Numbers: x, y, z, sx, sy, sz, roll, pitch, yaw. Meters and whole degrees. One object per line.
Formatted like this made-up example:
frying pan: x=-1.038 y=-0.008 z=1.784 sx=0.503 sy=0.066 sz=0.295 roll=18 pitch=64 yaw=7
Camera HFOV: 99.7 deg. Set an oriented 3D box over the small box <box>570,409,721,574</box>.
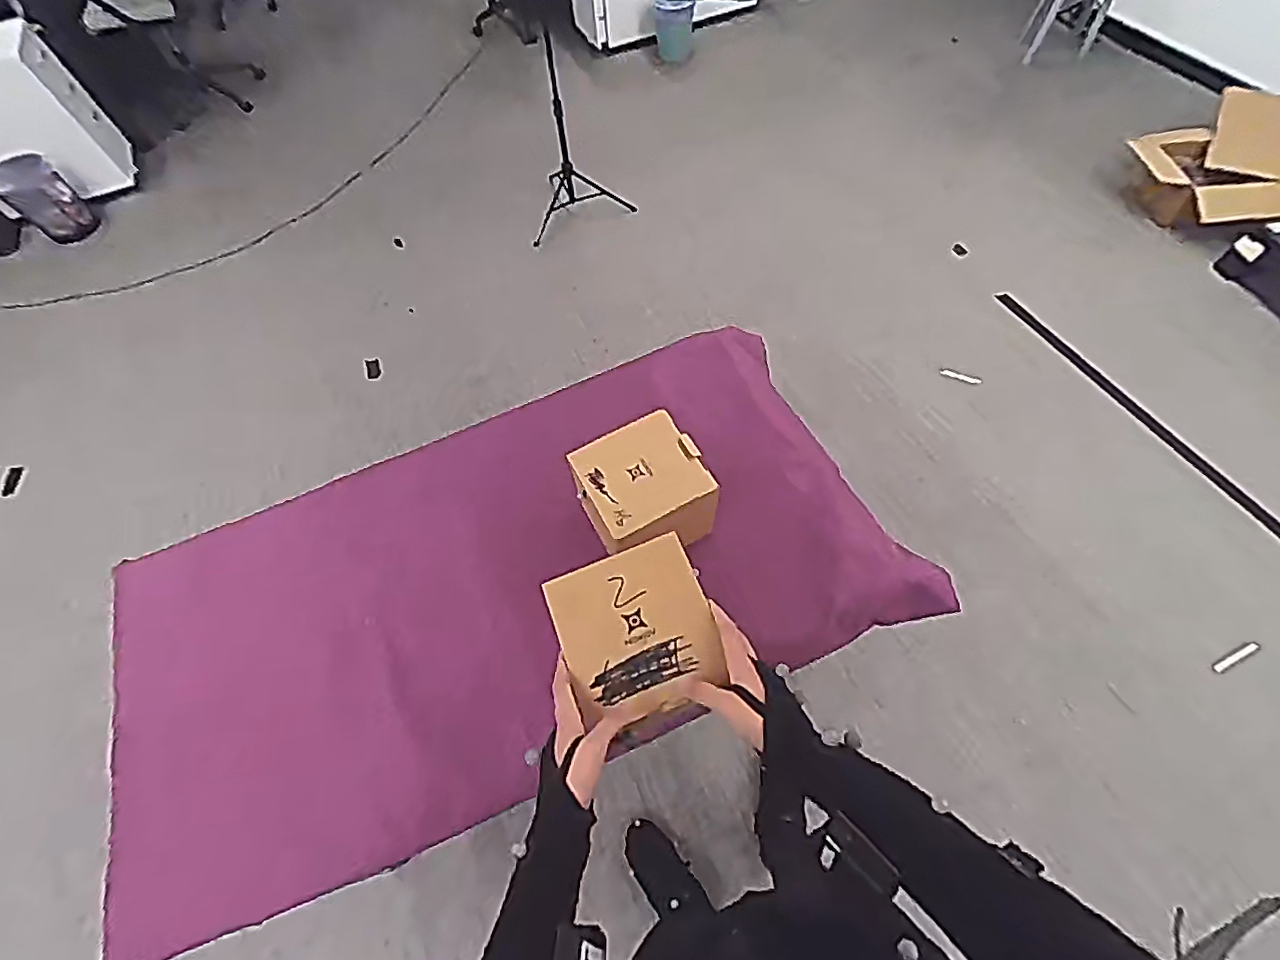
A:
small box: x=0.008 y=0.023 z=0.869 sx=0.179 sy=0.176 sz=0.168 roll=-26 pitch=62 yaw=-11
